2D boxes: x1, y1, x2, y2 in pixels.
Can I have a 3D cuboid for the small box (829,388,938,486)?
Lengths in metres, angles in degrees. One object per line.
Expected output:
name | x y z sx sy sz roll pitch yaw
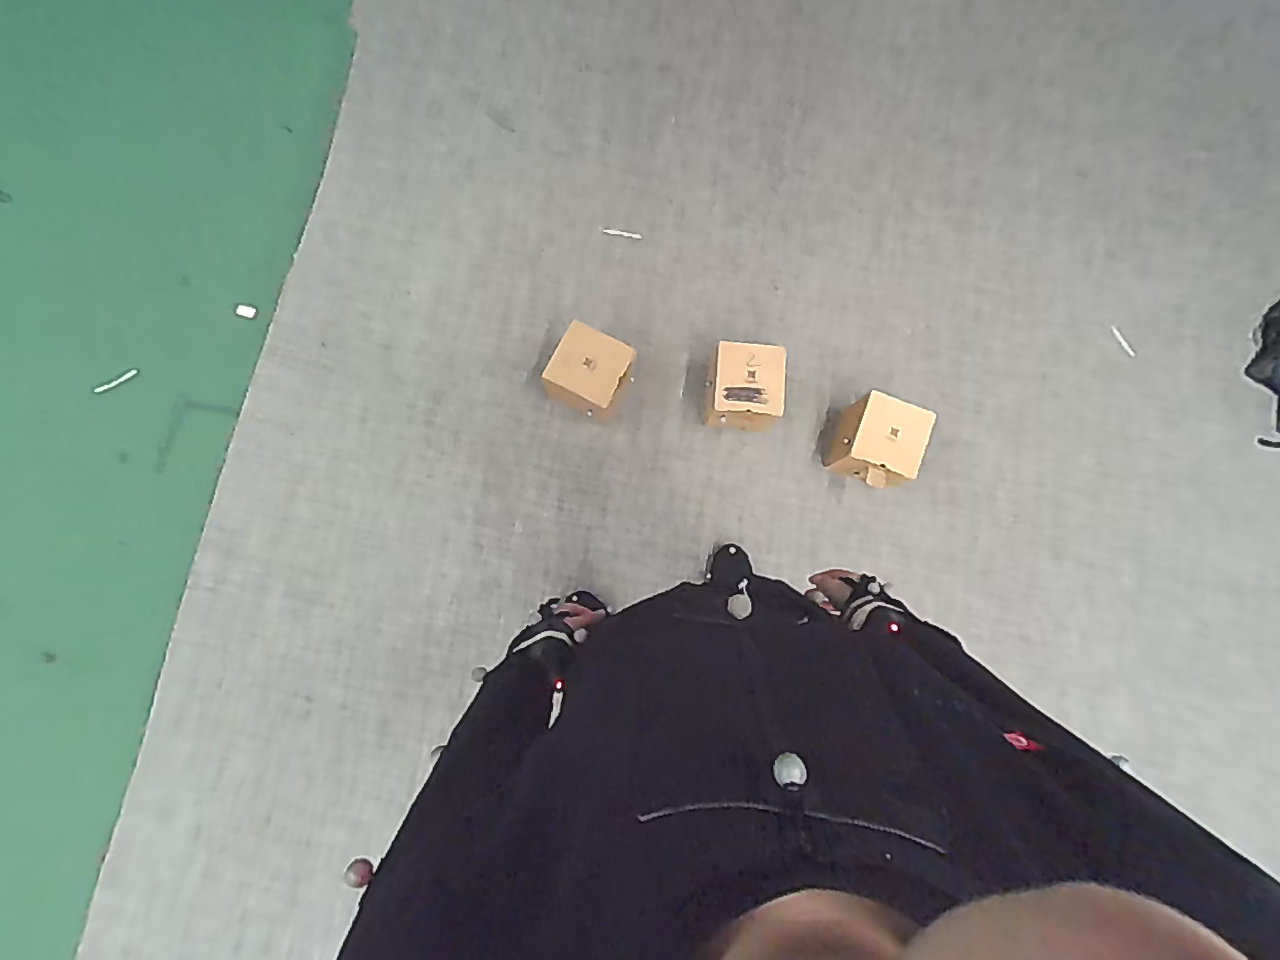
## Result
small box | 0.592 -0.099 1.336 0.168 0.176 0.179 21 82 1

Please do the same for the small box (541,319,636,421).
small box | -0.118 -0.261 1.340 0.179 0.176 0.168 25 81 6
